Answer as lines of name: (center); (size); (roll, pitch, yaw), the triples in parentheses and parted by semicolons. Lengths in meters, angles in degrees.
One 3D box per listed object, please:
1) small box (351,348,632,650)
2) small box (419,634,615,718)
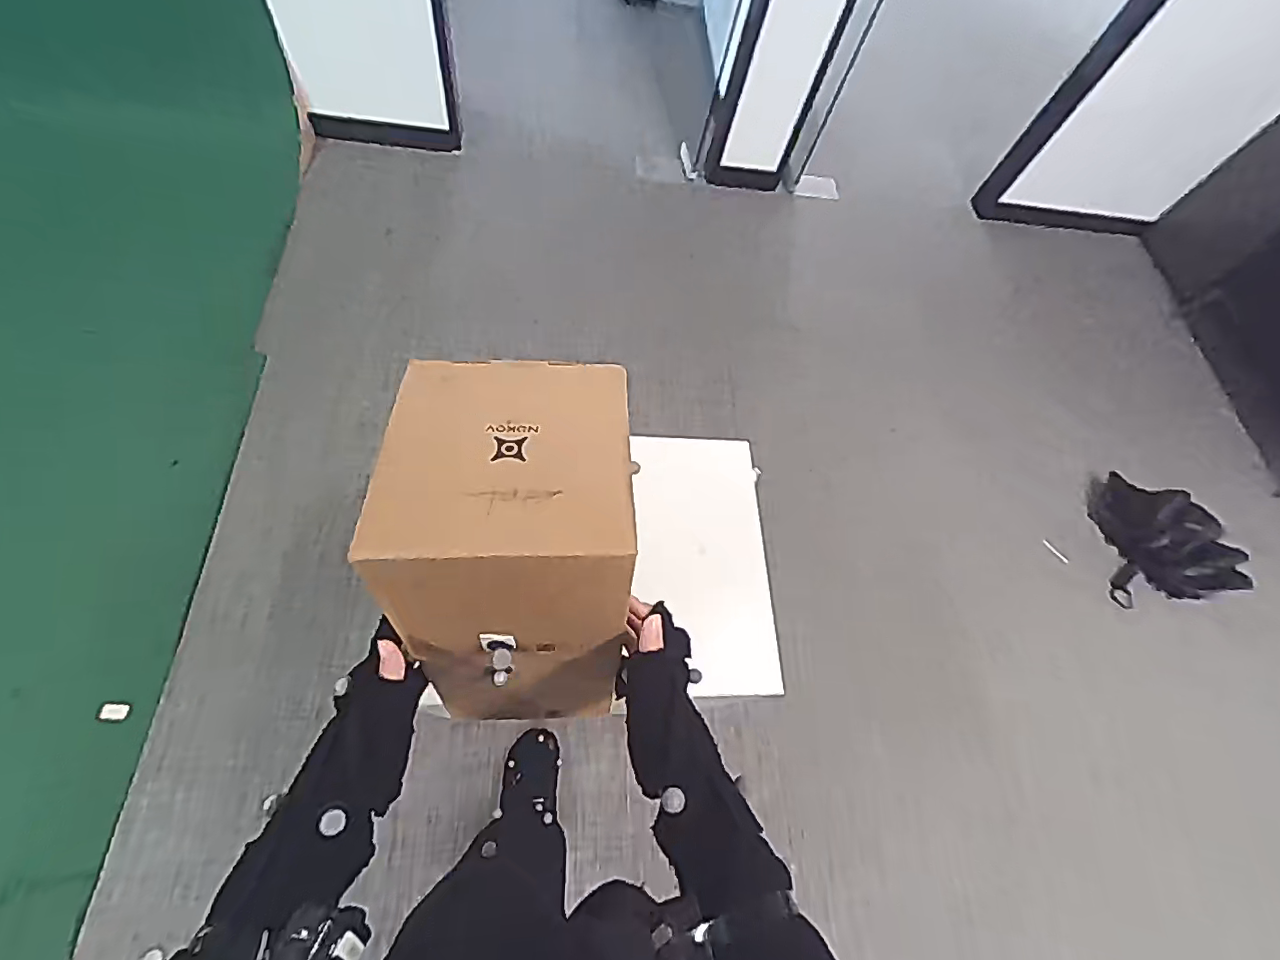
small box: (-0.098, 0.017, 0.430); (0.168, 0.176, 0.179); (-1, 51, -6)
small box: (-0.113, 0.132, 0.568); (0.168, 0.176, 0.179); (1, 50, -5)
